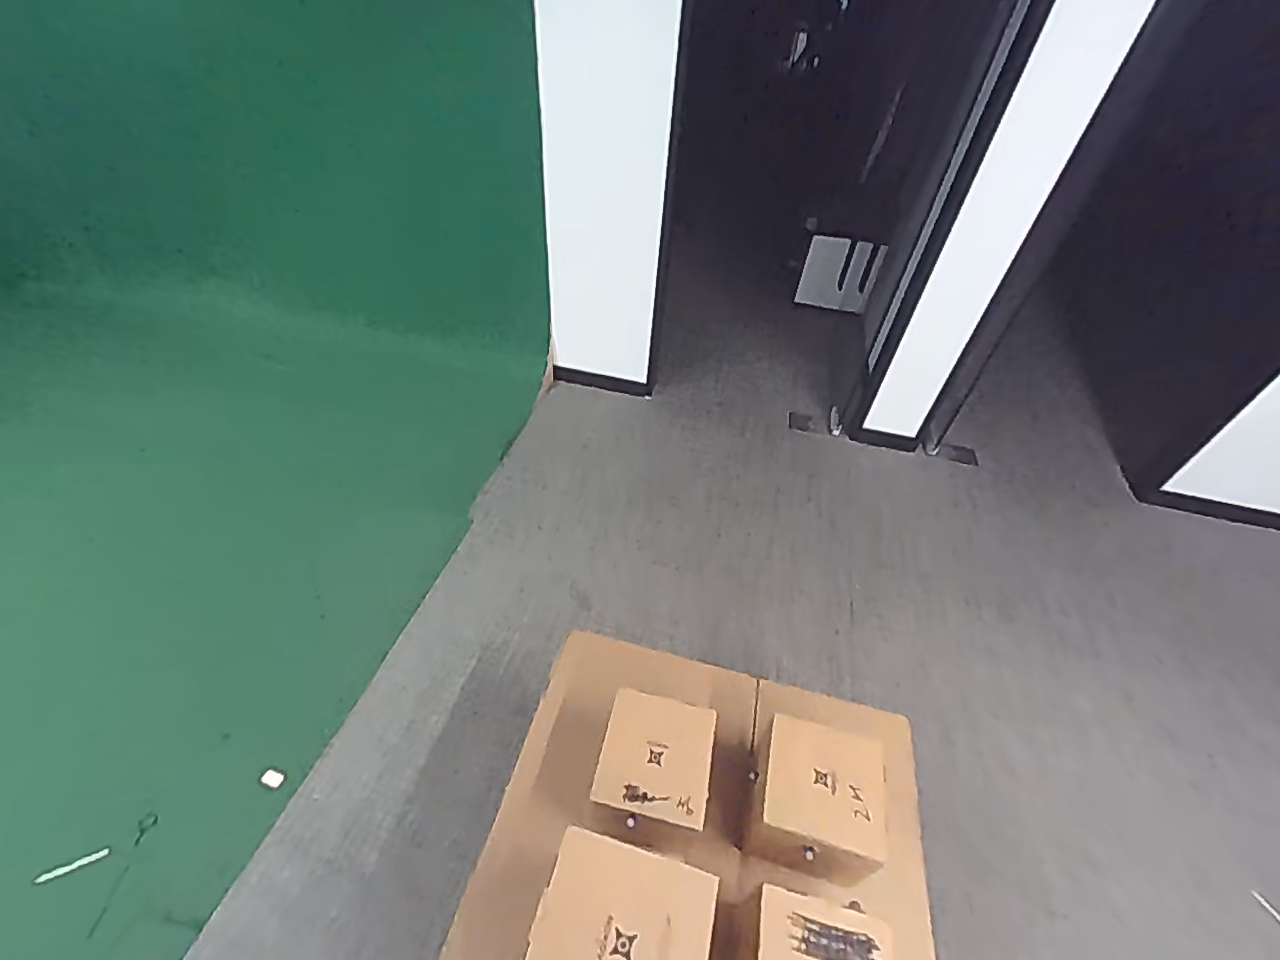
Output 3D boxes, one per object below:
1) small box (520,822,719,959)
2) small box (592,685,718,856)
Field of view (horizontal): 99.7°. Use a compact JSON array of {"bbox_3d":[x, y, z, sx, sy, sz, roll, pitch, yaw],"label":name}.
[{"bbox_3d":[-0.025,0.510,0.589,0.179,0.176,0.168,14,46,9],"label":"small box"},{"bbox_3d":[0.023,0.466,0.870,0.168,0.176,0.179,10,43,8],"label":"small box"}]
